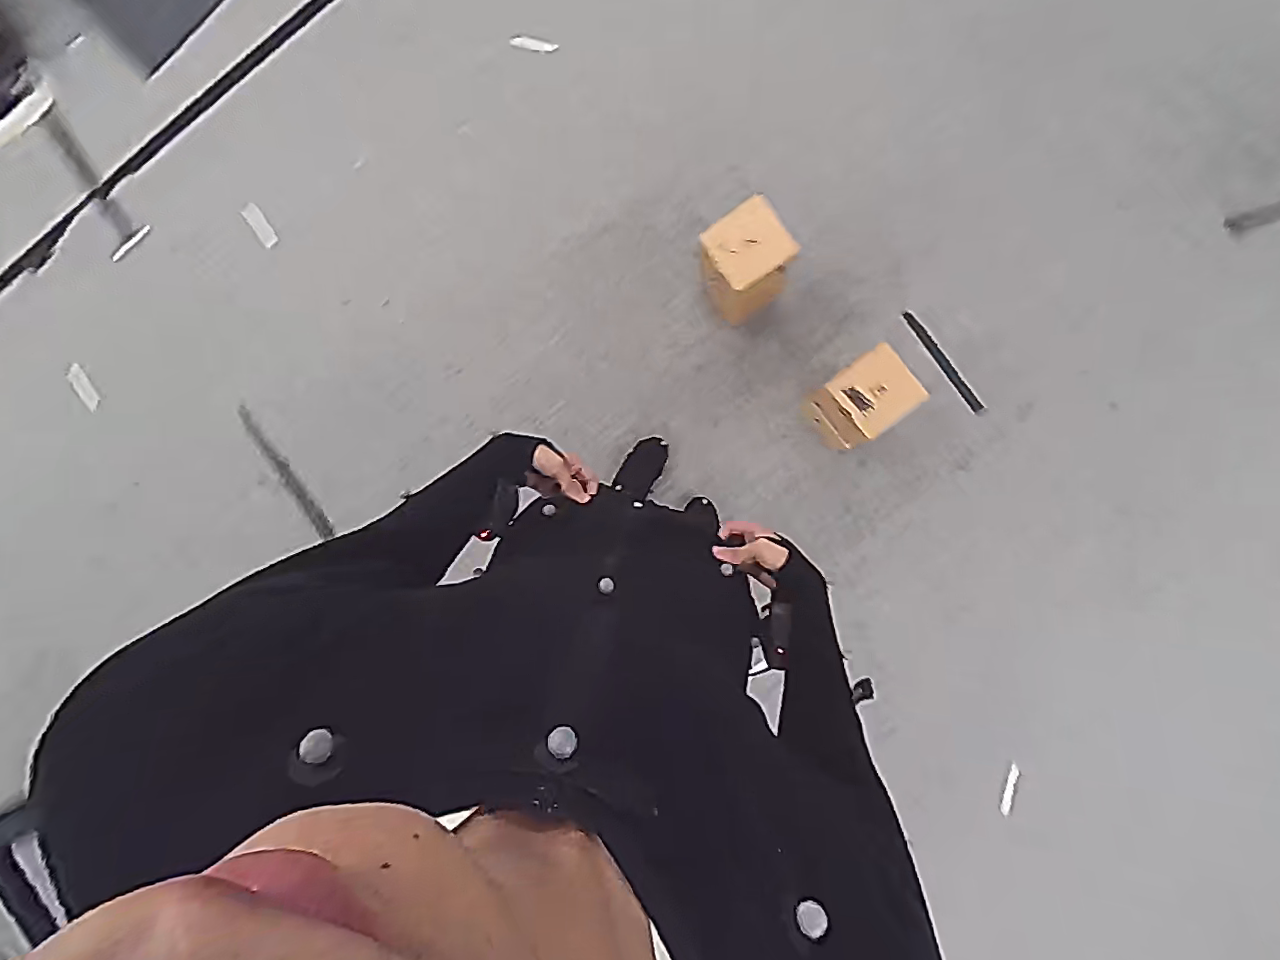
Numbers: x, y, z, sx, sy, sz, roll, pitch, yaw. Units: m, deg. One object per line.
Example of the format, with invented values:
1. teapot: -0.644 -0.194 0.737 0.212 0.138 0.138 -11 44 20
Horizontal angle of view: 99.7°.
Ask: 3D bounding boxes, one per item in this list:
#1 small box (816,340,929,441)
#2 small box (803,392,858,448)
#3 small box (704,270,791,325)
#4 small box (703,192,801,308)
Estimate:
1. small box: 0.554 -0.208 1.325 0.179 0.176 0.168 -37 88 3
2. small box: 0.569 -0.199 1.489 0.179 0.176 0.168 -37 88 4
3. small box: 0.290 -0.560 1.502 0.179 0.176 0.168 -32 88 5
4. small box: 0.267 -0.560 1.339 0.179 0.176 0.168 -33 87 6
